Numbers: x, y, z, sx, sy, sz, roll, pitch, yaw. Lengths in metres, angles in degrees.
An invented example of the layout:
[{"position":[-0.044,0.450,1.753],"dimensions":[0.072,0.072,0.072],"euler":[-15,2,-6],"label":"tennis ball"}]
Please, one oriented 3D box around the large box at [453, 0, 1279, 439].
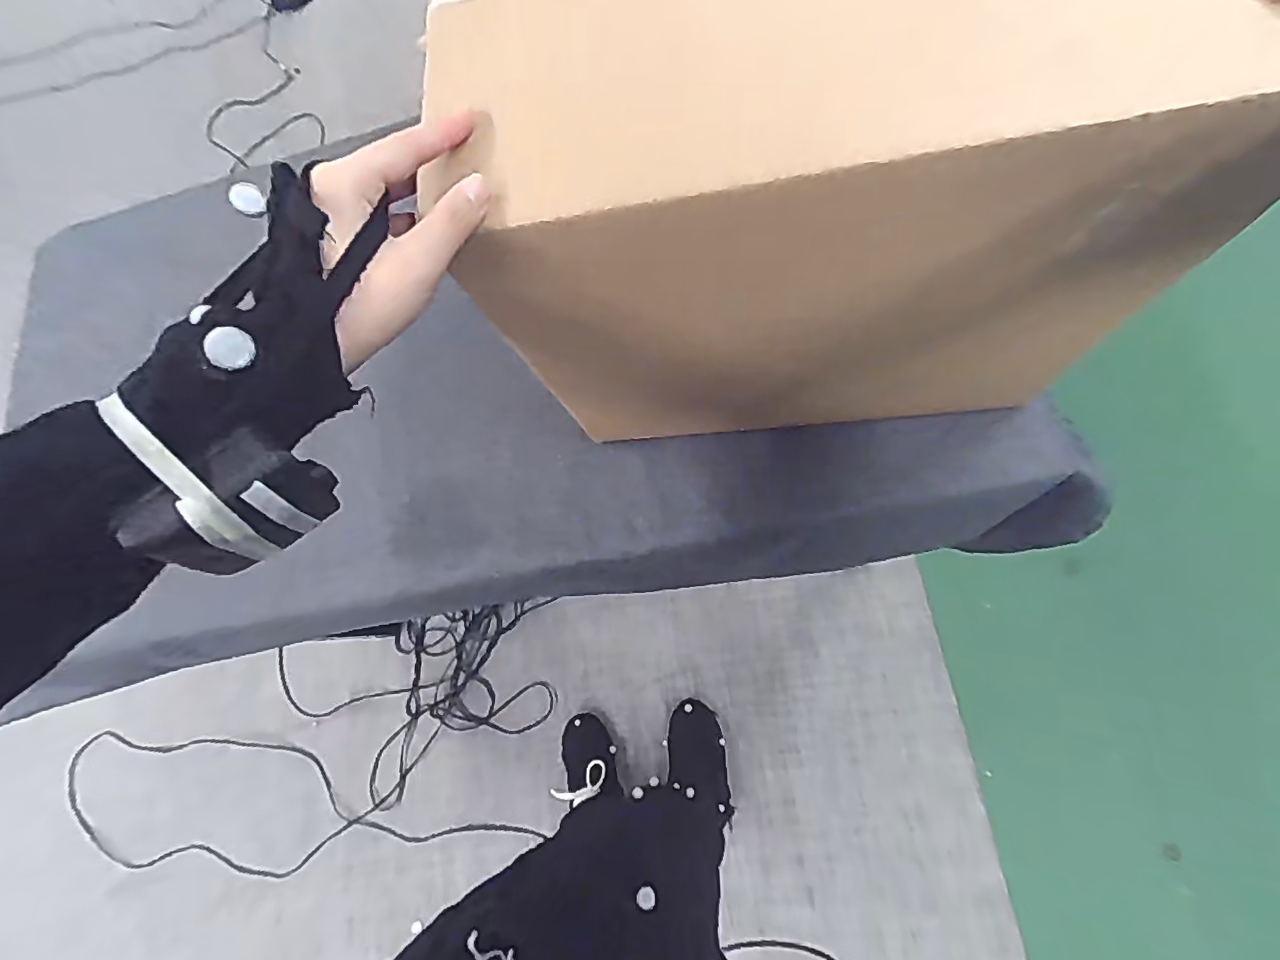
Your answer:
[{"position":[0.120,-0.241,0.419],"dimensions":[0.408,0.320,0.320],"euler":[-4,75,10],"label":"large box"}]
